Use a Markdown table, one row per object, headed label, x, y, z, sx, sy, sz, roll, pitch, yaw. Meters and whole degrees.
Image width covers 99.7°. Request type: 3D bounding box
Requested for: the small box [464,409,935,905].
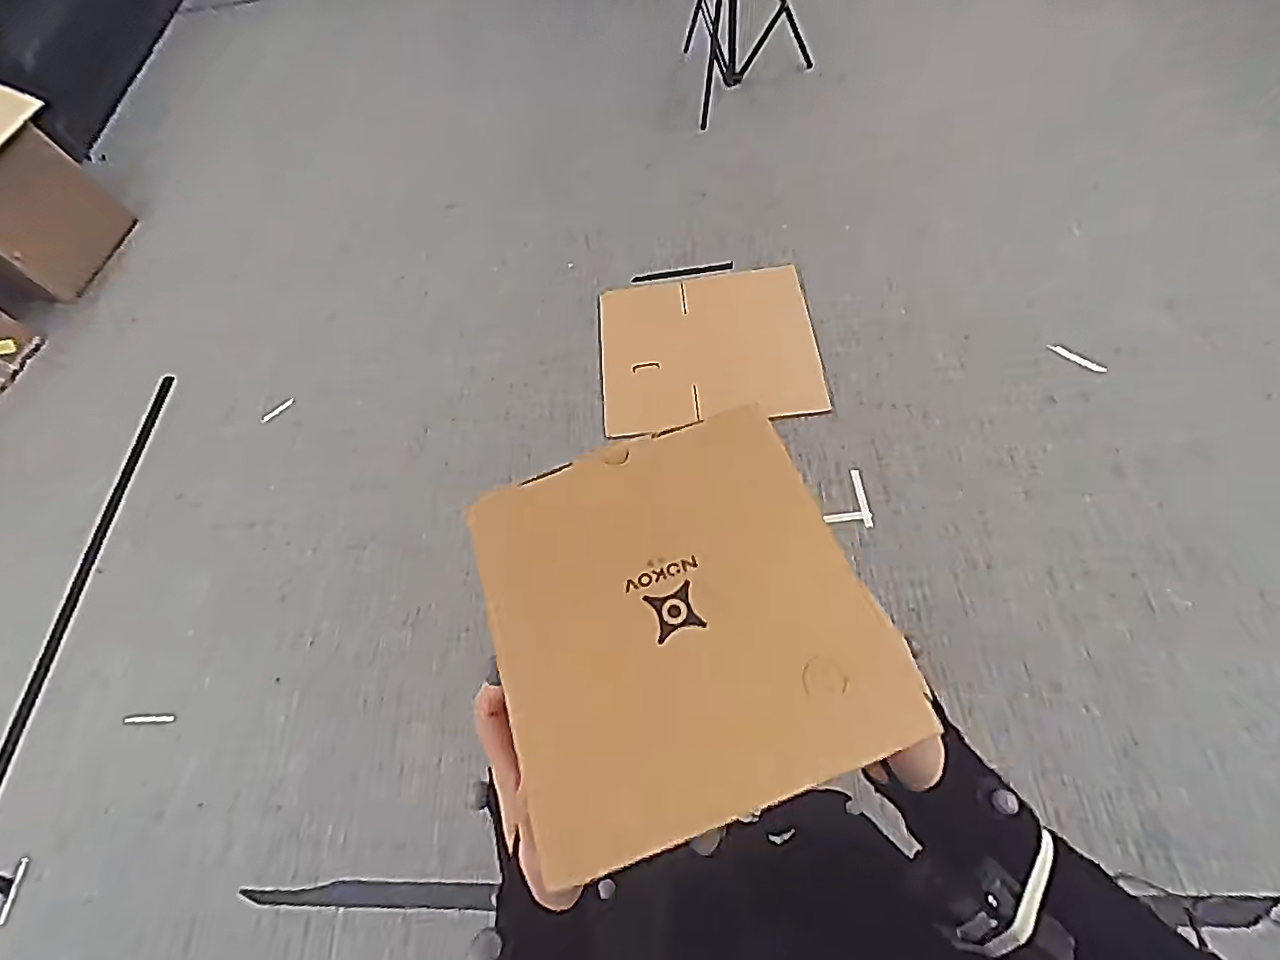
| label | x | y | z | sx | sy | sz | roll | pitch | yaw |
| --- | --- | --- | --- | --- | --- | --- | --- | --- | --- |
| small box | 0.021 | 0.095 | 0.312 | 0.168 | 0.176 | 0.179 | -20 | 62 | -5 |
